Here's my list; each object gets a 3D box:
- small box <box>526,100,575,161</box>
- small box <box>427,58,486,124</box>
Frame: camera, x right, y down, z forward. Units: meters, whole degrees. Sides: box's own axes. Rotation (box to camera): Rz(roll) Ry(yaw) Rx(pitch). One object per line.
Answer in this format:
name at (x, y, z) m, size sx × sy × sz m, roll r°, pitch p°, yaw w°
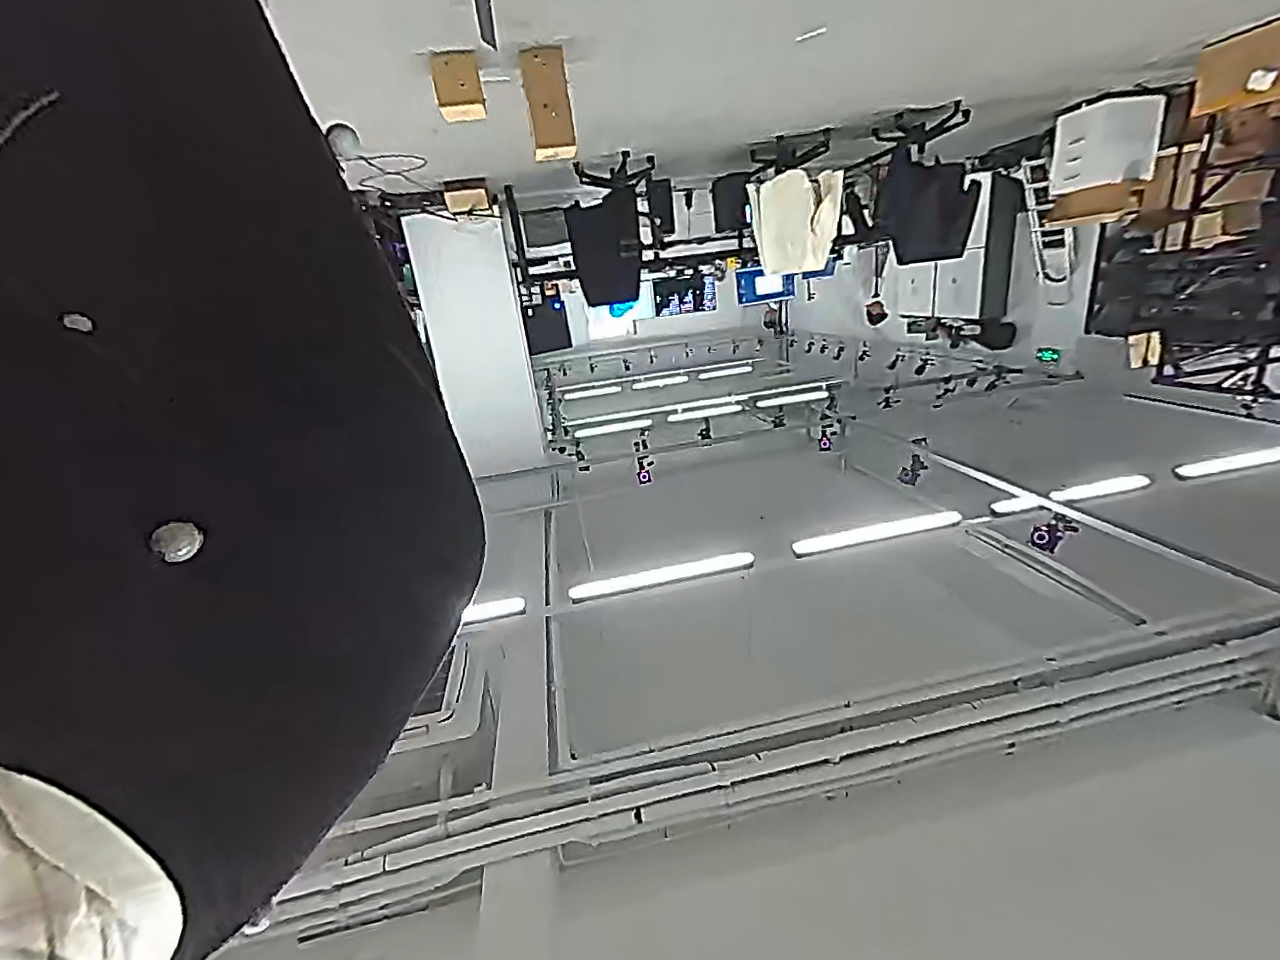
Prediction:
small box at (-0.366, -1.423, 2.203) m, size 0.168 × 0.176 × 0.179 m, roll -12°, pitch -161°, yaw -9°
small box at (-0.710, -1.513, 2.100) m, size 0.168 × 0.176 × 0.179 m, roll -10°, pitch -160°, yaw -5°
